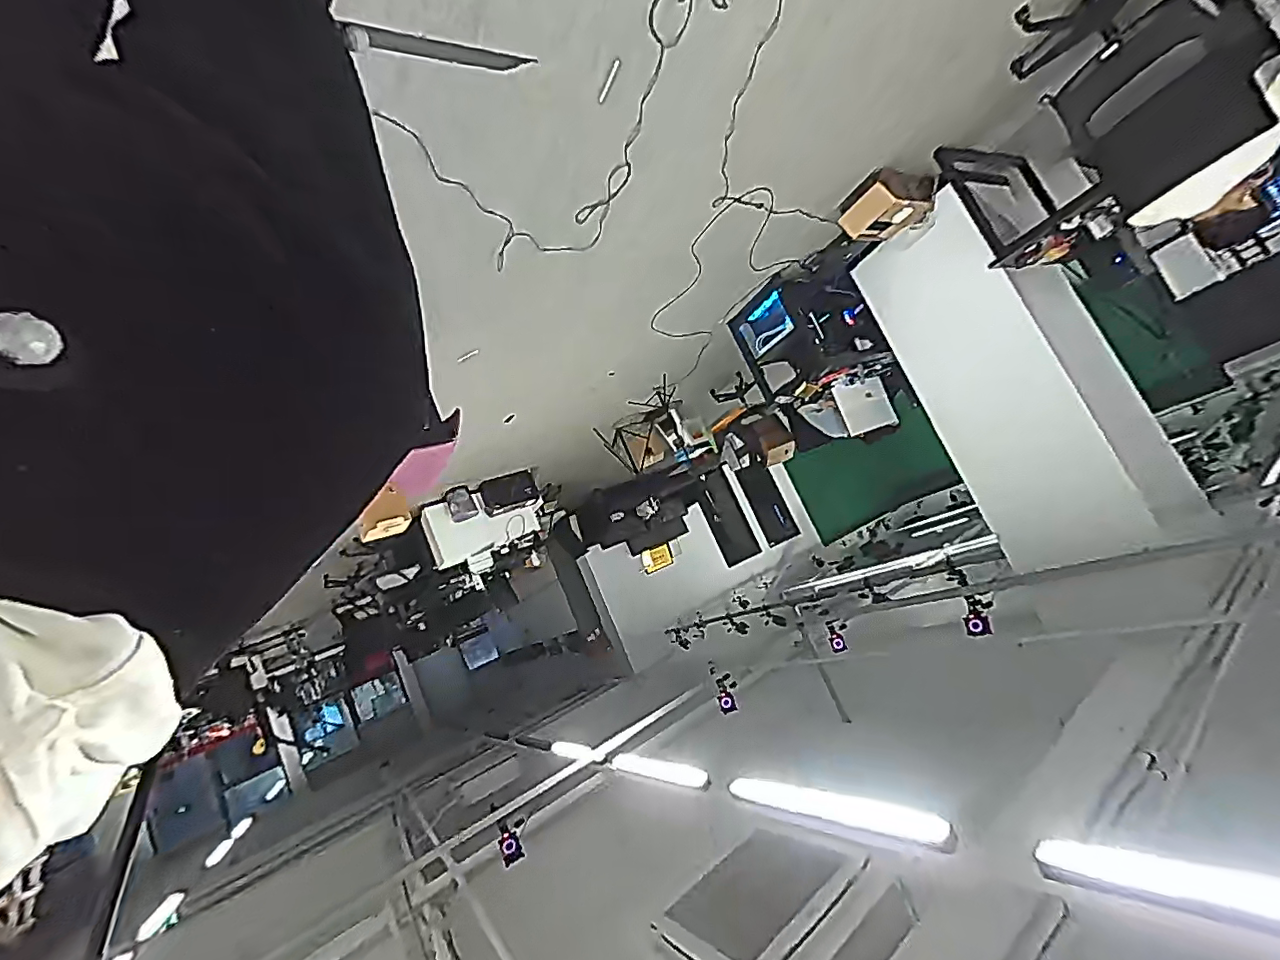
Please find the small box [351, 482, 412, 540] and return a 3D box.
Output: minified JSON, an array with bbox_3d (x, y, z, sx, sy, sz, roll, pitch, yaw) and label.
[{"bbox_3d":[-1.049,0.119,2.185,0.168,0.176,0.179,-16,168,-39],"label":"small box"}]
